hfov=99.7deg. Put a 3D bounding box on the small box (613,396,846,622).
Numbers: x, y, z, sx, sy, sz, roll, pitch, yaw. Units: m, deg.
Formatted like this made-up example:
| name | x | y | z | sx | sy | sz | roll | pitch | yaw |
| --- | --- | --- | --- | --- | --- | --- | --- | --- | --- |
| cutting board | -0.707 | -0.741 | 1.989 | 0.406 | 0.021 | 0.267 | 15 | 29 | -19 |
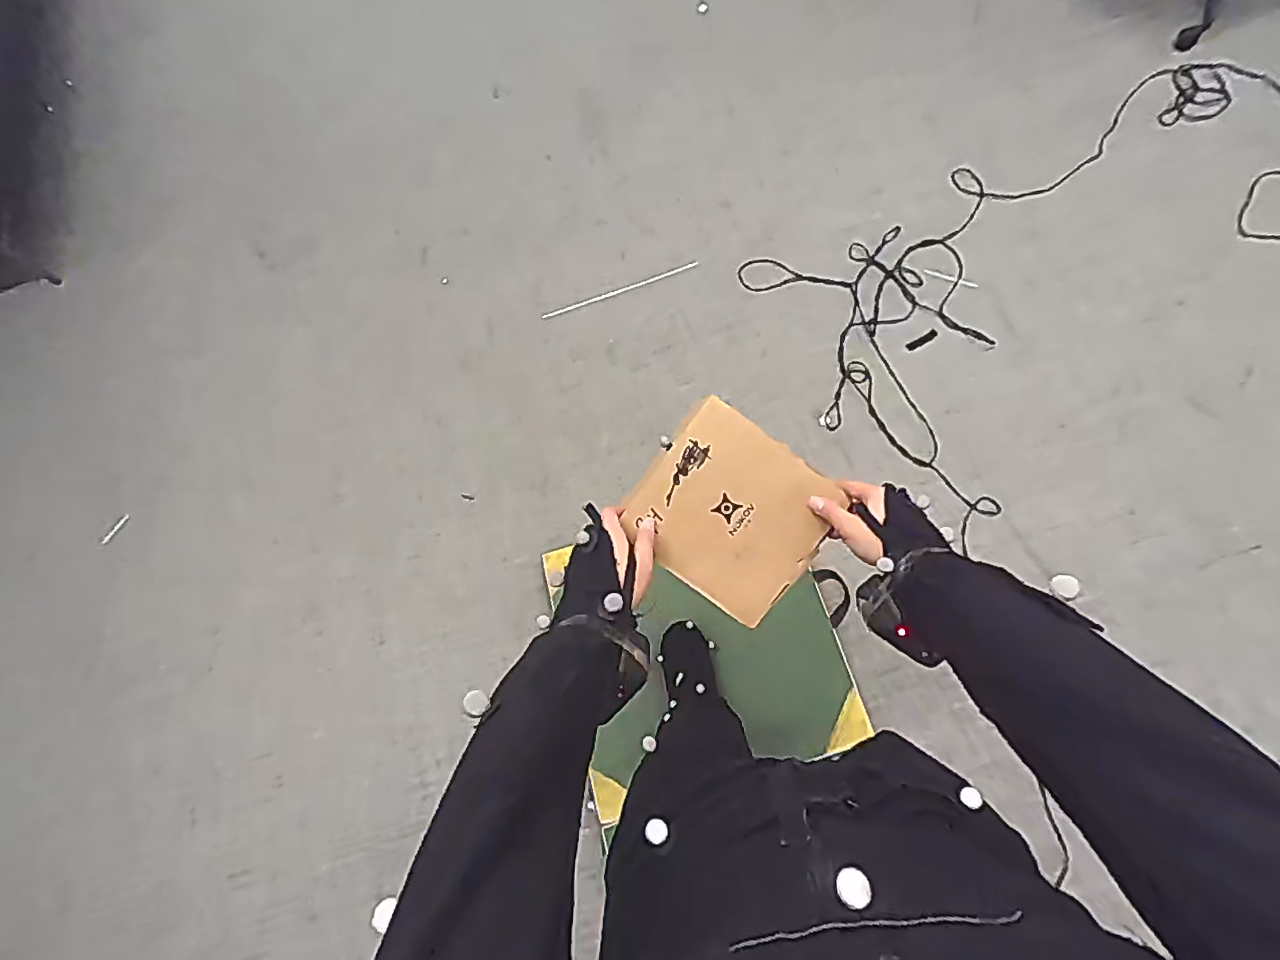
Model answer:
| name | x | y | z | sx | sy | sz | roll | pitch | yaw |
| --- | --- | --- | --- | --- | --- | --- | --- | --- | --- |
| small box | 0.090 | 0.024 | 0.615 | 0.179 | 0.176 | 0.168 | 37 | 93 | -2 |
